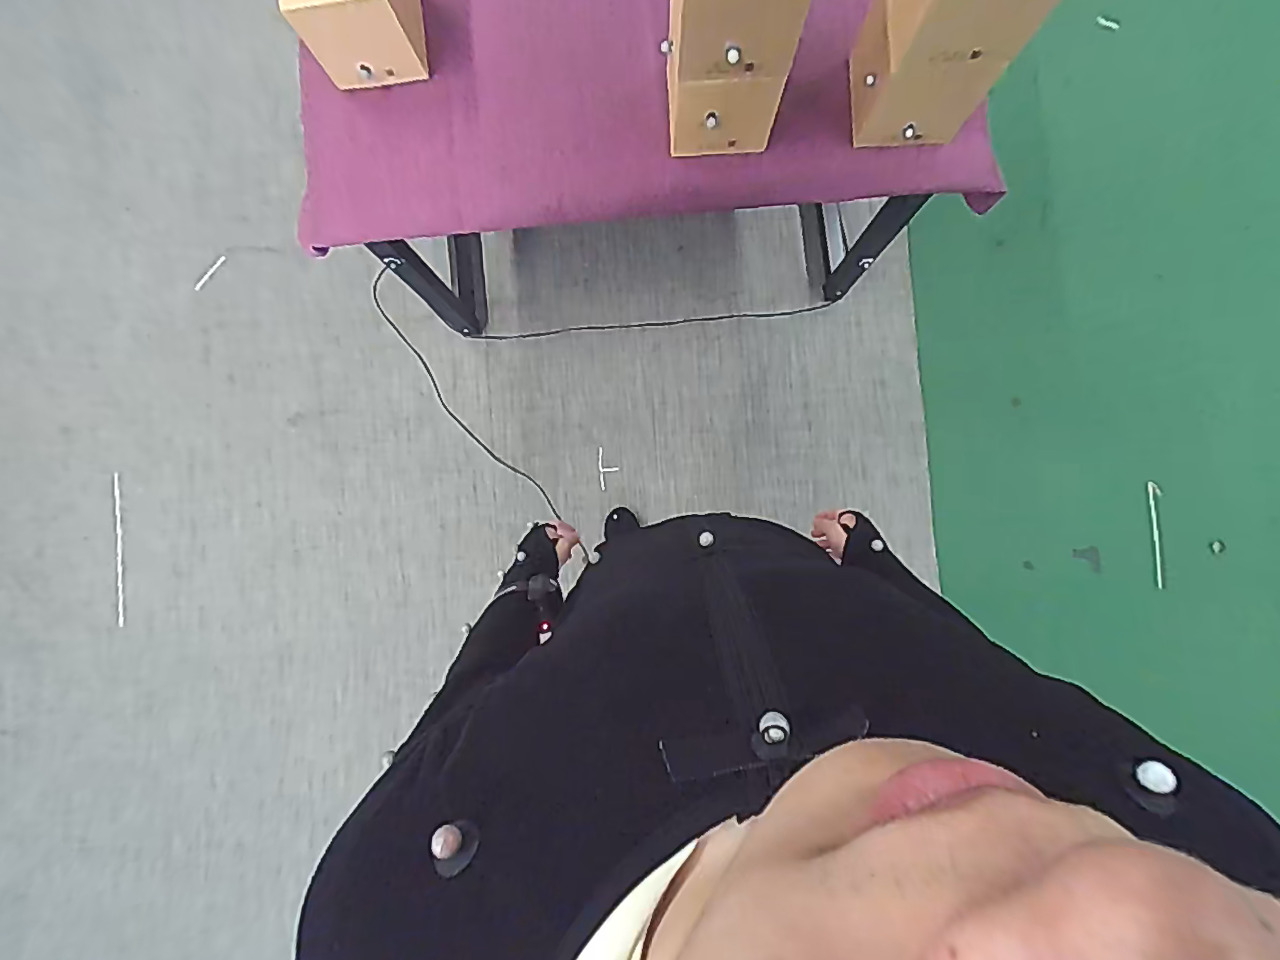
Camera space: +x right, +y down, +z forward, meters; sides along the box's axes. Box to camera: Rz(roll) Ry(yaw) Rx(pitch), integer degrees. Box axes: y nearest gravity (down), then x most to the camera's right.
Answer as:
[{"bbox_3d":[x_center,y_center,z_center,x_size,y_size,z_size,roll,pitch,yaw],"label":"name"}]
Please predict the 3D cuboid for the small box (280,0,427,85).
[{"bbox_3d":[-0.473,-0.809,0.900,0.168,0.176,0.179,-7,88,1],"label":"small box"}]

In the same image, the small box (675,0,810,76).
[{"bbox_3d":[0.131,-0.683,0.714,0.168,0.176,0.179,-2,86,2],"label":"small box"}]

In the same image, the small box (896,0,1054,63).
[{"bbox_3d":[0.448,-0.693,0.703,0.168,0.176,0.179,-1,86,3],"label":"small box"}]

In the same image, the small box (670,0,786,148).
[{"bbox_3d":[0.134,-0.669,0.878,0.168,0.176,0.179,-2,85,2],"label":"small box"}]
